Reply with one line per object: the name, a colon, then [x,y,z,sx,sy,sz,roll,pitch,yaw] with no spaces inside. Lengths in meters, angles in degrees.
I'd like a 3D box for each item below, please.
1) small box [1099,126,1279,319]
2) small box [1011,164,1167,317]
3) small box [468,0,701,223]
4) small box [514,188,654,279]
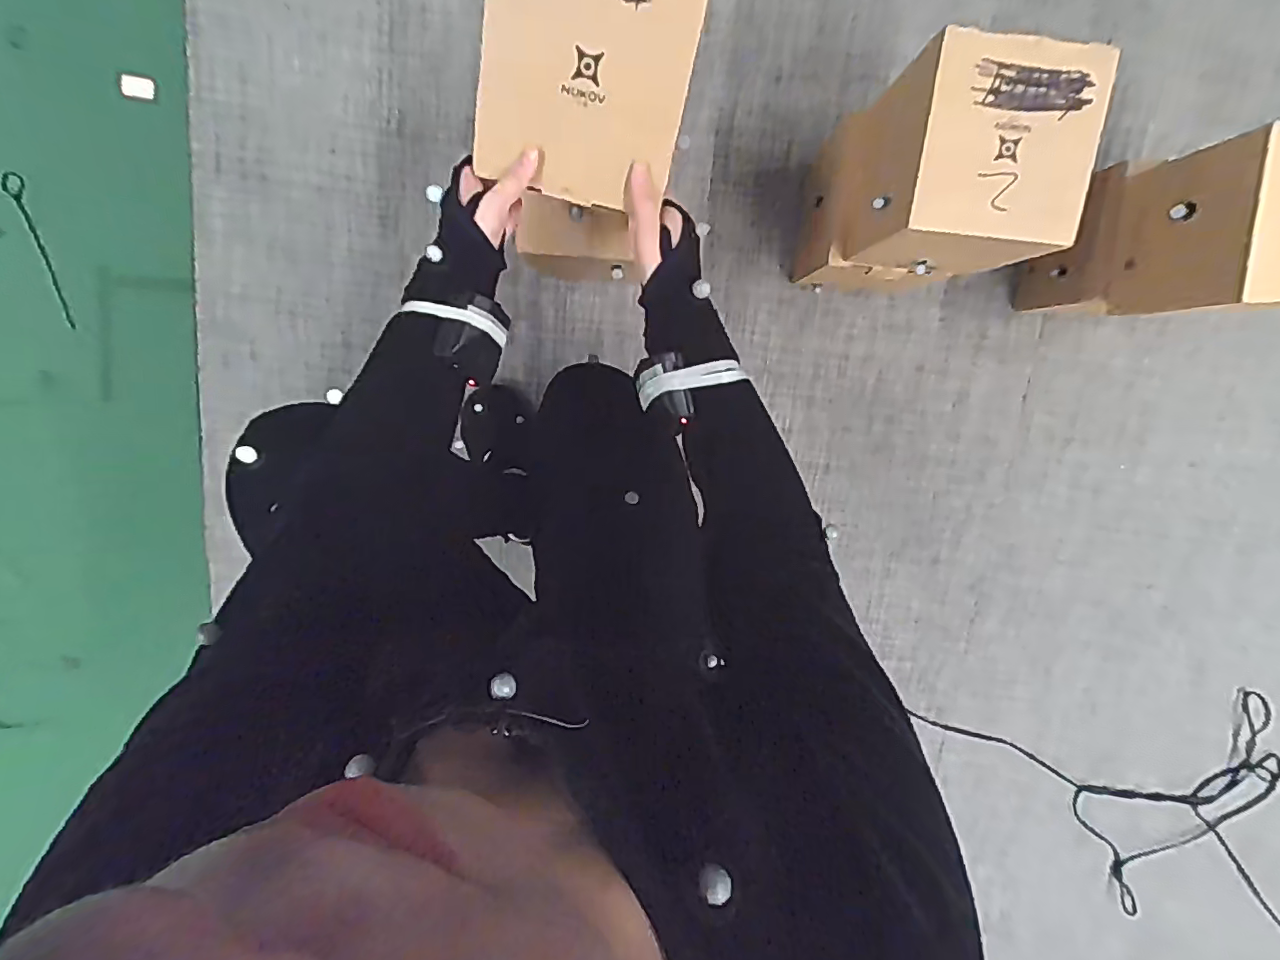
small box: [0.672,-0.274,0.607,0.179,0.176,0.168,-2,102,0]
small box: [0.670,-0.324,0.762,0.179,0.176,0.168,3,103,-1]
small box: [-0.045,-0.357,0.499,0.168,0.176,0.179,13,119,-5]
small box: [-0.069,-0.382,0.752,0.179,0.176,0.168,4,101,-1]
